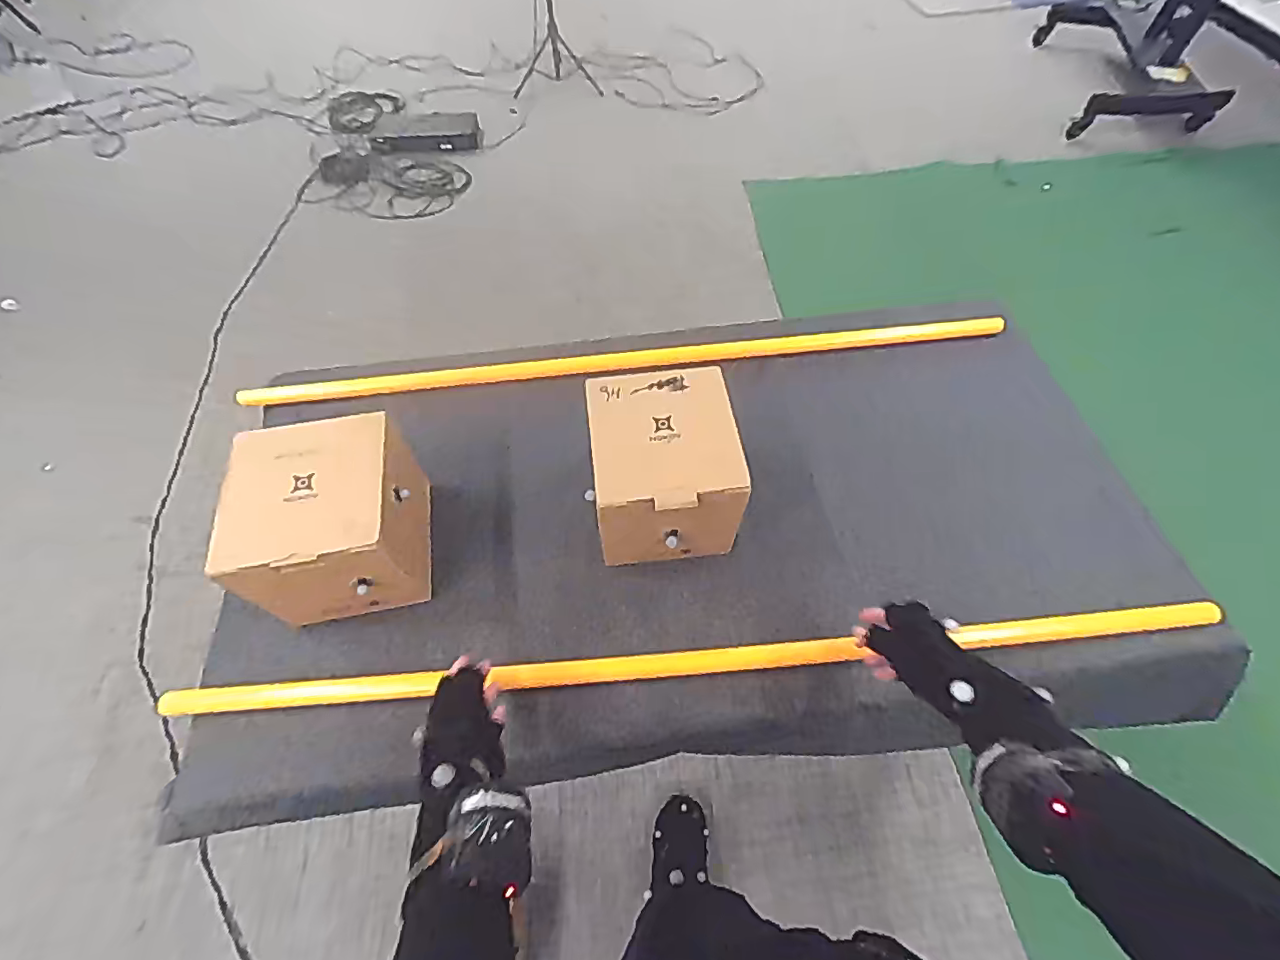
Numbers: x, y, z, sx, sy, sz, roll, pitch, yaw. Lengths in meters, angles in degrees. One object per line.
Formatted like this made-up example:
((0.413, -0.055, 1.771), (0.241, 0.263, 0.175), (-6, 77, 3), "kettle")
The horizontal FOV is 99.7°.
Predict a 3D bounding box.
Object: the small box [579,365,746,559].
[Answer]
((0.024, -0.013, 0.678), (0.168, 0.176, 0.179), (-10, 59, -3), "small box")

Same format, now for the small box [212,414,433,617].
((-0.355, 0.050, 0.645), (0.168, 0.176, 0.179), (-10, 58, -7), "small box")

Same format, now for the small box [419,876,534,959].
((-0.300, 0.857, 1.011), (0.168, 0.176, 0.179), (0, 60, 1), "small box")
